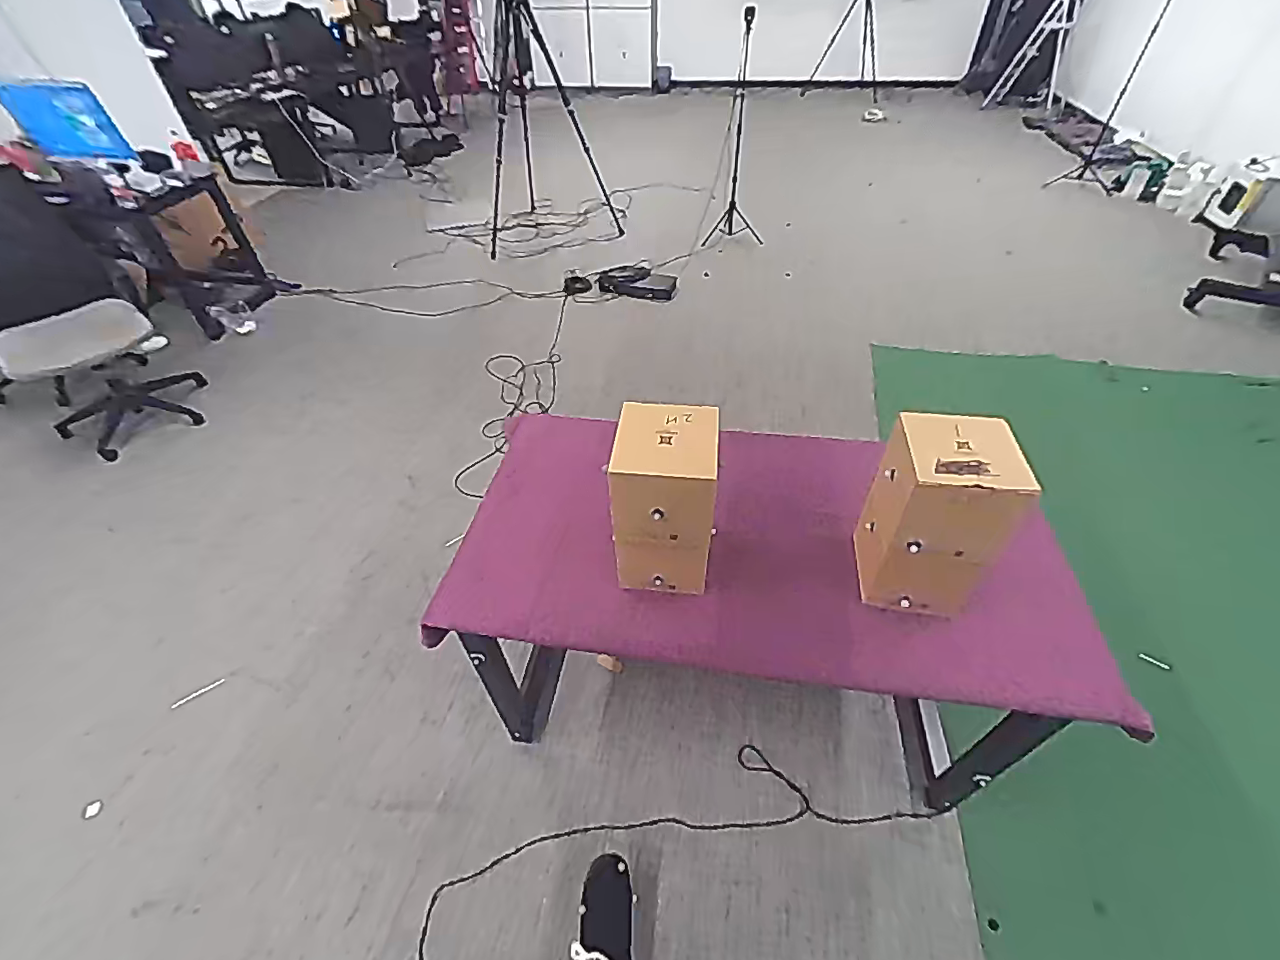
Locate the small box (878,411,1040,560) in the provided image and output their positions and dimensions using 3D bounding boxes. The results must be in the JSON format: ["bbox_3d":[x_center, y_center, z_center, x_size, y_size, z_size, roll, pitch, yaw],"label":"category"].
[{"bbox_3d":[0.498,0.009,0.876,0.168,0.176,0.179,5,43,10],"label":"small box"}]

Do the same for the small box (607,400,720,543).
[{"bbox_3d":[0.045,-0.013,0.914,0.168,0.176,0.179,4,46,6],"label":"small box"}]

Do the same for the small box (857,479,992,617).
[{"bbox_3d":[0.506,0.124,0.993,0.168,0.176,0.179,6,45,10],"label":"small box"}]
